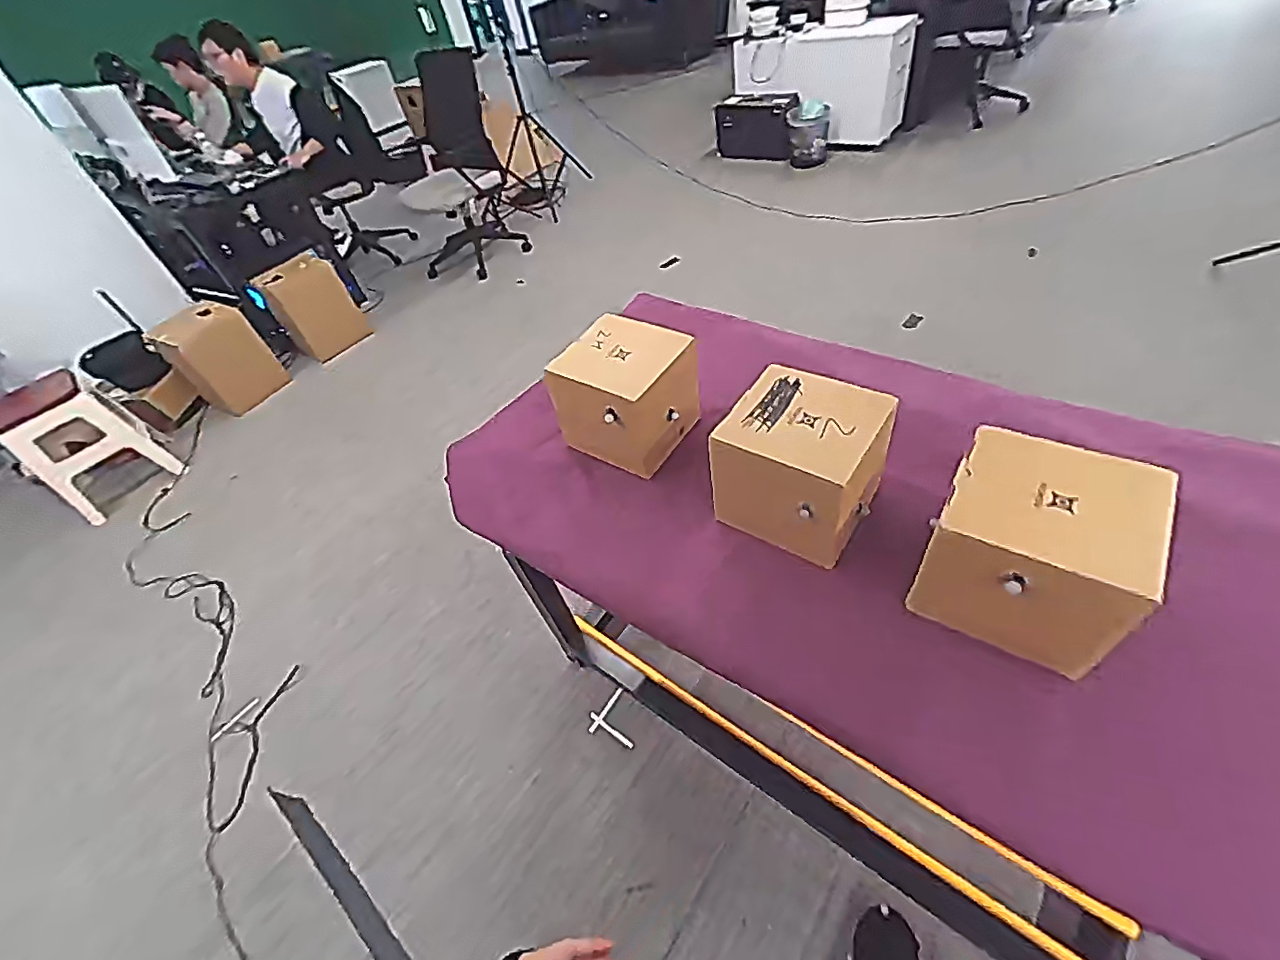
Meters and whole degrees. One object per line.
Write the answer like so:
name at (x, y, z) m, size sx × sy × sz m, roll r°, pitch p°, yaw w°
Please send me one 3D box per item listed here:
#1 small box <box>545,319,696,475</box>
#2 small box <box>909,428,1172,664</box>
small box at (-0.020, -0.132, 0.885) m, size 0.179 × 0.176 × 0.168 m, roll 23°, pitch 56°, yaw 27°
small box at (0.423, 0.075, 0.594) m, size 0.179 × 0.176 × 0.168 m, roll 21°, pitch 56°, yaw 30°
